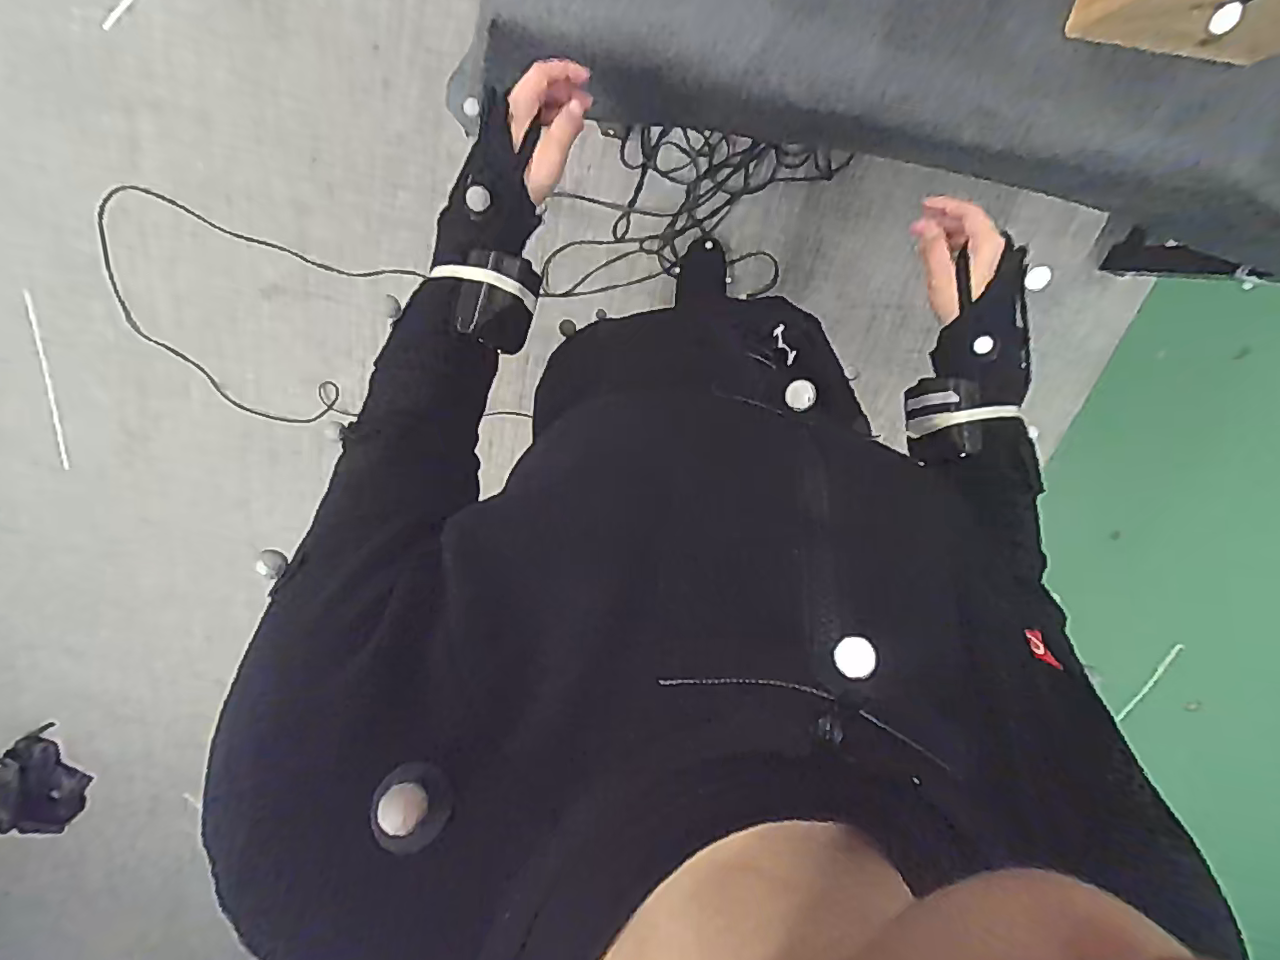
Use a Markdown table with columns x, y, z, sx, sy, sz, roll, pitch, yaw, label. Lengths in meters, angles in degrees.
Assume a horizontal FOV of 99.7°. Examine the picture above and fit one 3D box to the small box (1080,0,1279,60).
| x | y | z | sx | sy | sz | roll | pitch | yaw | label |
| --- | --- | --- | --- | --- | --- | --- | --- | --- | --- |
| 0.447 | -0.412 | 0.355 | 0.168 | 0.176 | 0.179 | 7 | 112 | -2 | small box |
